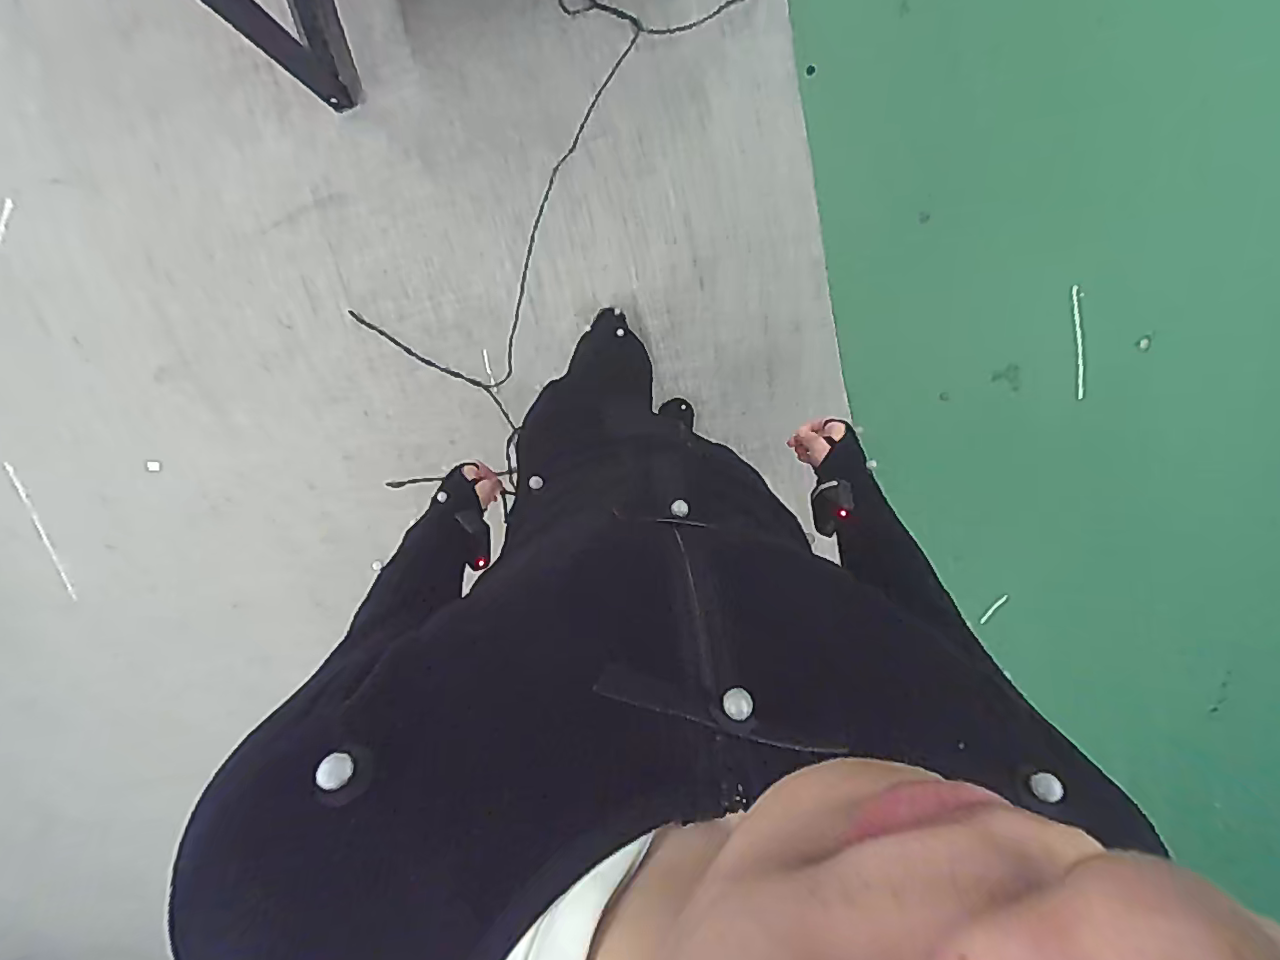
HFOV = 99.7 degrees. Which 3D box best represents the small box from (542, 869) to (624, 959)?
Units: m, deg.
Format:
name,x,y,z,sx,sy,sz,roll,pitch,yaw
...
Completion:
name,x,y,z,sx,sy,sz,roll,pitch,yaw
small box,-0.133,1.106,1.330,0.168,0.176,0.179,-7,100,3
